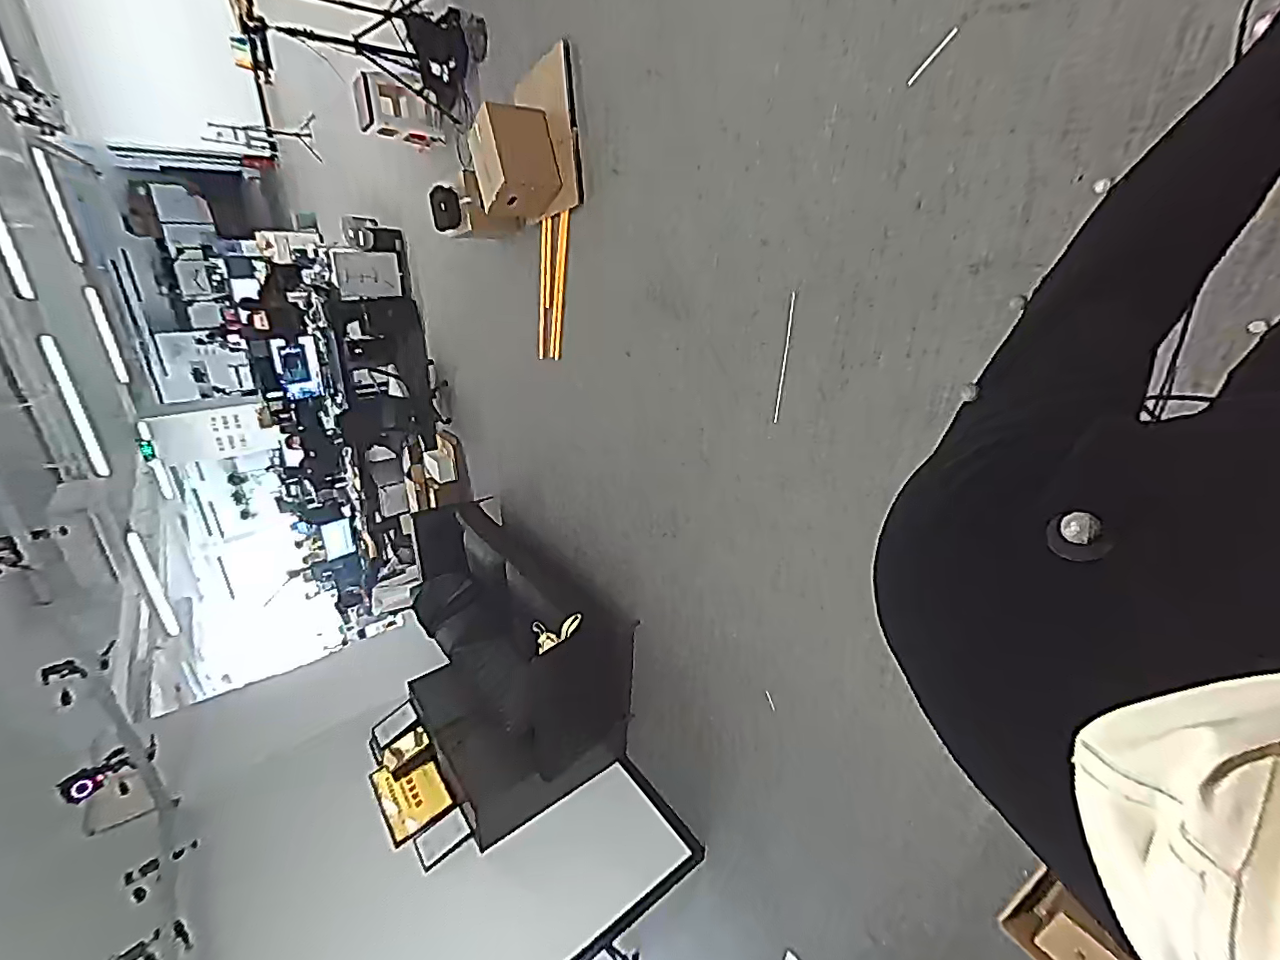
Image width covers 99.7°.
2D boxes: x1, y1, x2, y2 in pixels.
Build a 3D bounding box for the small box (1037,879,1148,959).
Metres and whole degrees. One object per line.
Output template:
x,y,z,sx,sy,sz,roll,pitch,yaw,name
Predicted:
1.247,1.262,1.488,0.168,0.176,0.179,34,130,41,small box
